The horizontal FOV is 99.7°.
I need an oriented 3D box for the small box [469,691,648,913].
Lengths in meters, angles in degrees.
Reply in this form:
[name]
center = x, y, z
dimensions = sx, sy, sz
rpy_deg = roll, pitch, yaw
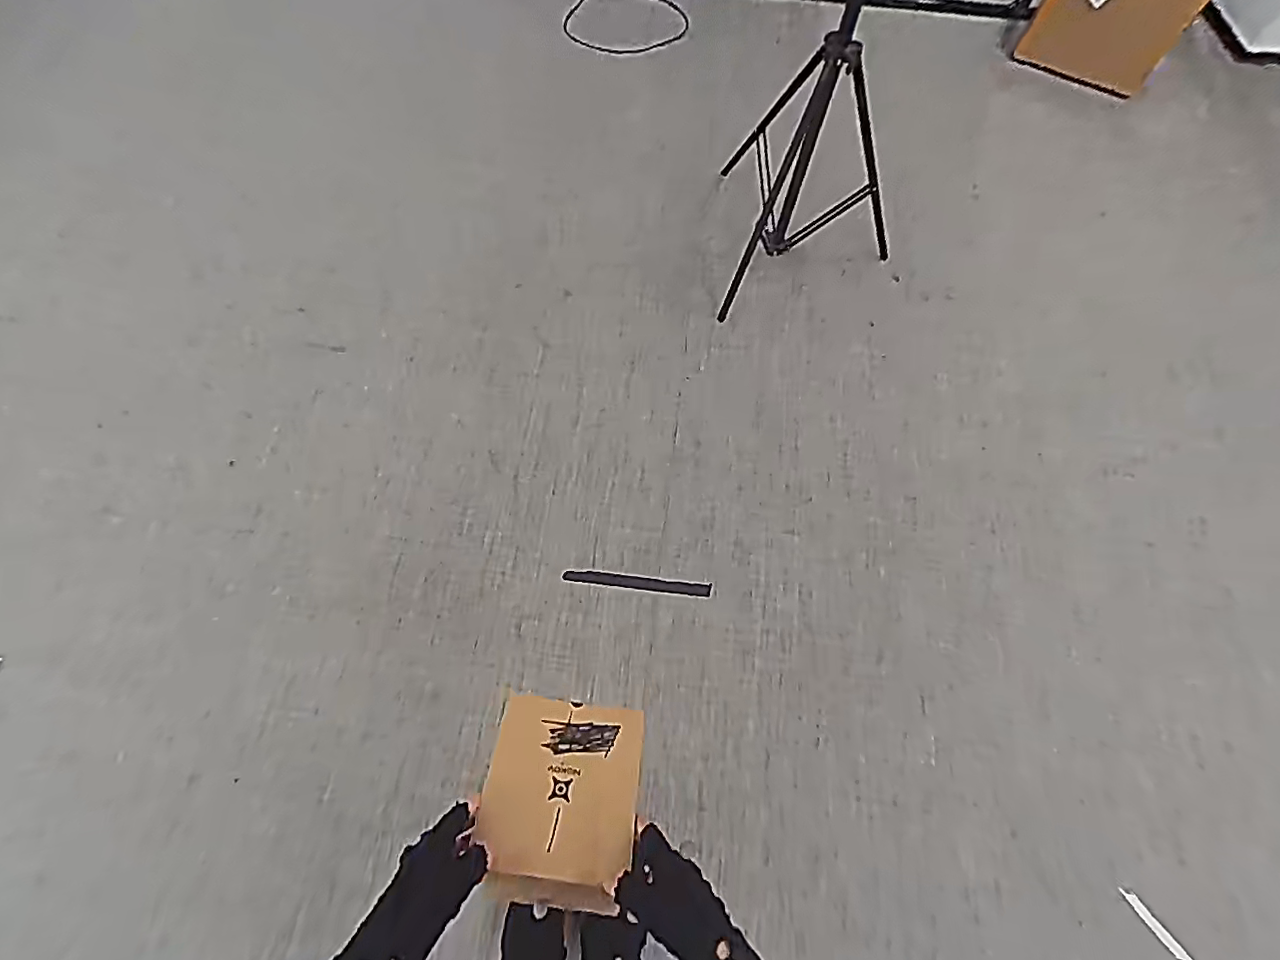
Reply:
[small box]
center = -0.088, 0.381, 0.642
dimensions = 0.168, 0.176, 0.179
rpy_deg = 8, 44, 0
